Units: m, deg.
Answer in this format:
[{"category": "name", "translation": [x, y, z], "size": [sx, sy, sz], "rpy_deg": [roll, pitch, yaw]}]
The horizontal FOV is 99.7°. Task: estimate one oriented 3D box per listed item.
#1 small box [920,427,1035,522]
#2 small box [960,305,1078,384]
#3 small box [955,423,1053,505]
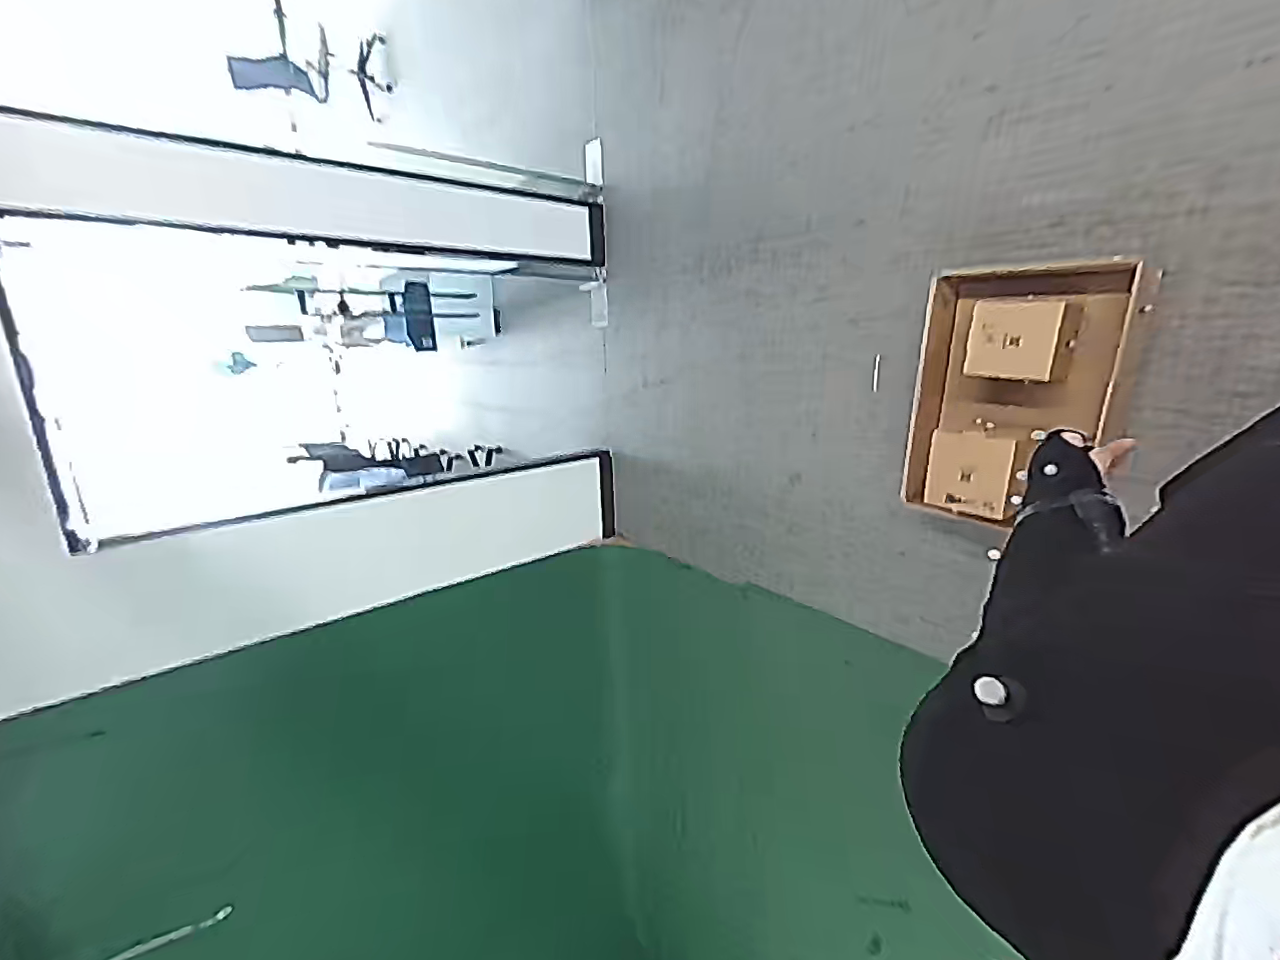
[{"category": "small box", "translation": [0.772, -0.022, 1.233], "size": [0.168, 0.176, 0.179], "rpy_deg": [18, 112, 48]}, {"category": "small box", "translation": [0.891, -0.323, 1.269], "size": [0.179, 0.176, 0.168], "rpy_deg": [20, 116, 47]}, {"category": "small box", "translation": [0.891, -0.047, 1.345], "size": [0.179, 0.176, 0.168], "rpy_deg": [18, 113, 49]}]
